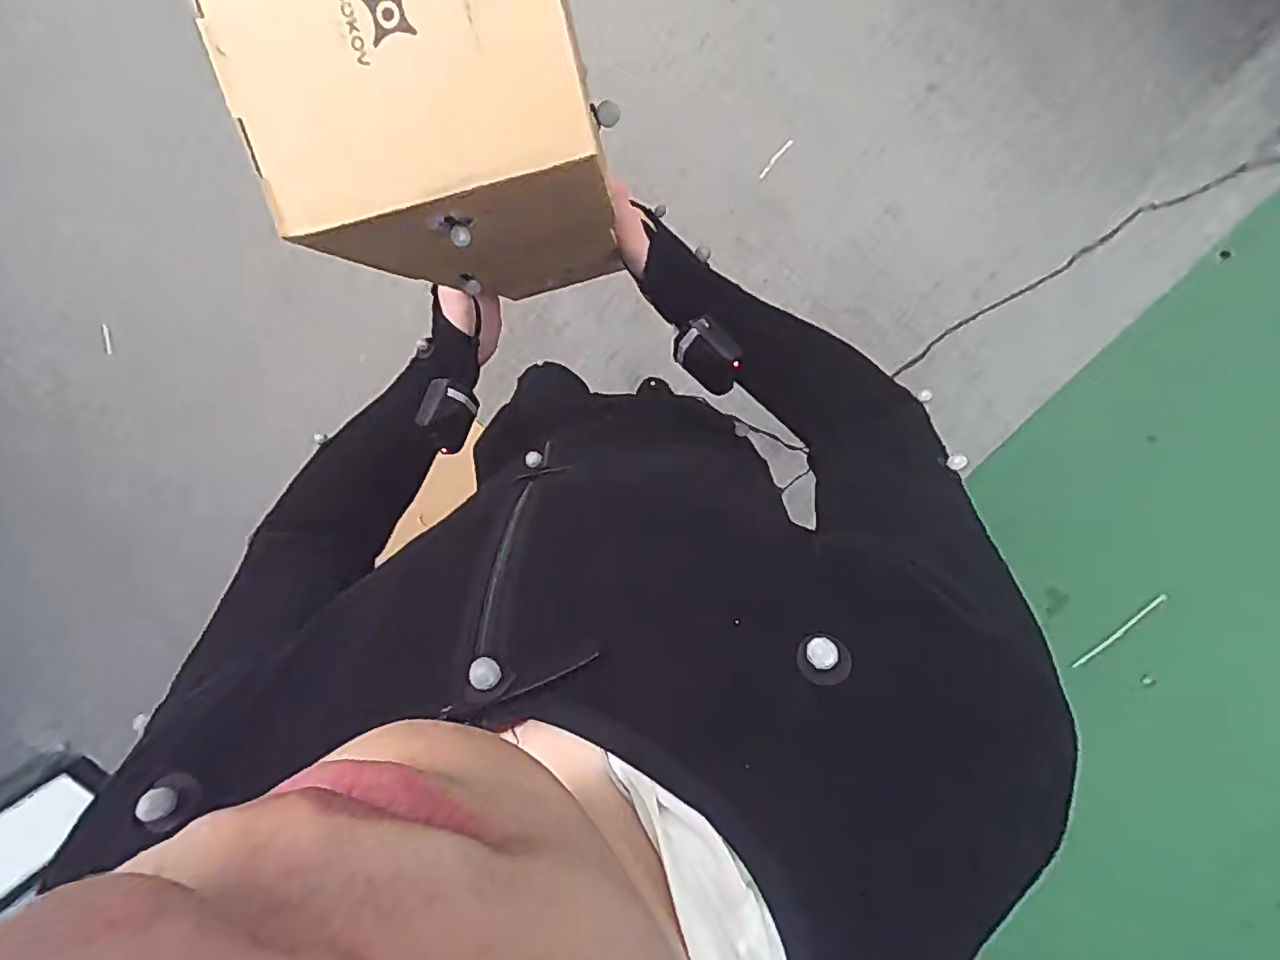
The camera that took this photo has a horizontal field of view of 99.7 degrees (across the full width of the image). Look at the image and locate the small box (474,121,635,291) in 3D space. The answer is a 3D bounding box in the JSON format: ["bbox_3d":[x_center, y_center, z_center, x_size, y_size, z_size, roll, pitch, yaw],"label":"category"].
[{"bbox_3d":[-0.110,-0.340,0.658,0.179,0.176,0.168,-13,102,5],"label":"small box"}]

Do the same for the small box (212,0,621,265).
[{"bbox_3d":[-0.118,-0.247,0.344,0.179,0.176,0.168,-11,103,5],"label":"small box"}]
